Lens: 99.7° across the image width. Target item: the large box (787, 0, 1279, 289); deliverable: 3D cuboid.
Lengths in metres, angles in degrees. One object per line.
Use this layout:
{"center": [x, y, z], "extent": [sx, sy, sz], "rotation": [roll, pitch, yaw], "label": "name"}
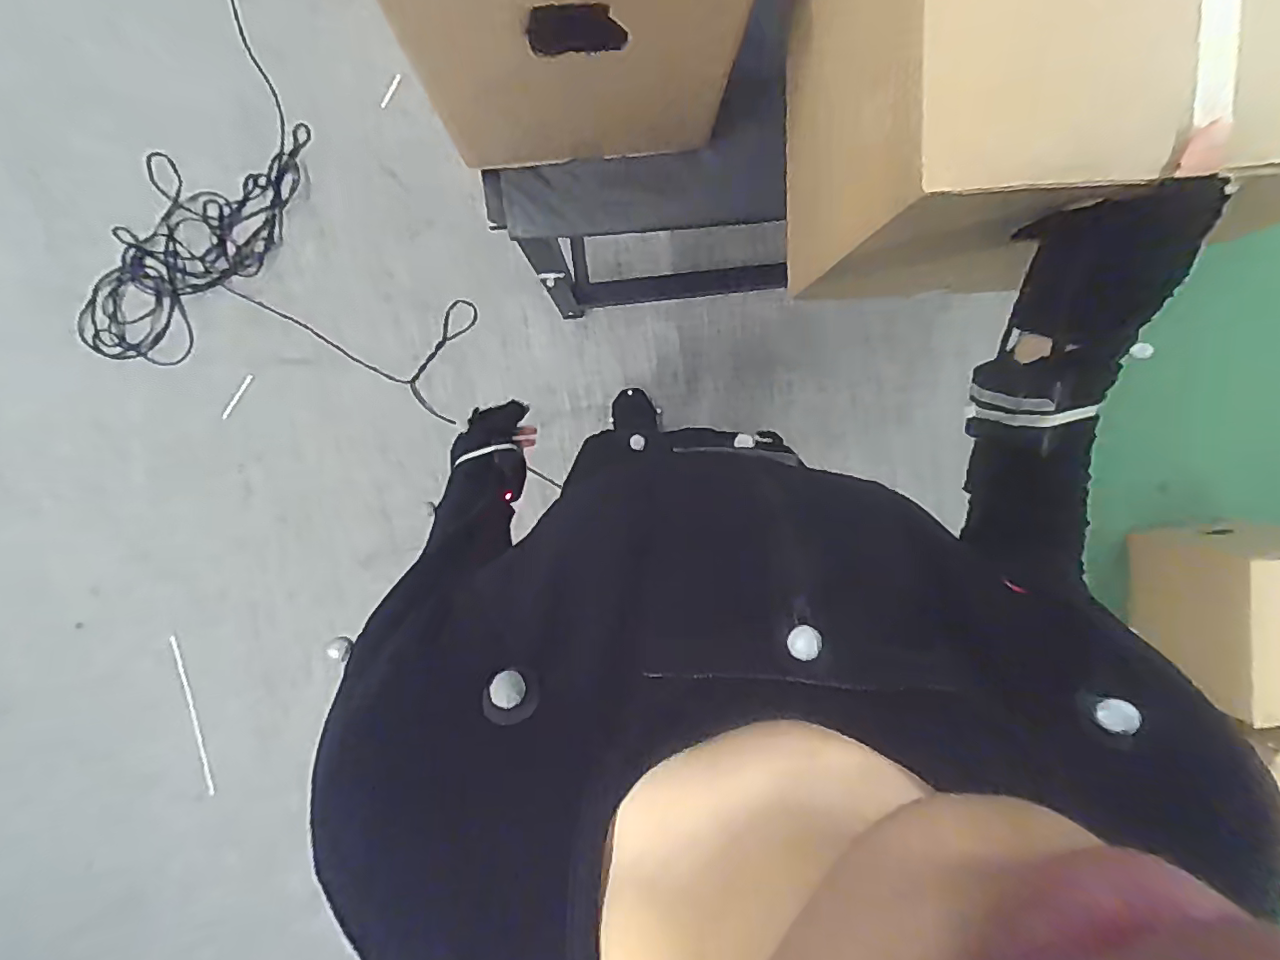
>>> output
{"center": [0.308, -0.397, 0.431], "extent": [0.320, 0.320, 0.408], "rotation": [-3, 98, 3], "label": "large box"}
